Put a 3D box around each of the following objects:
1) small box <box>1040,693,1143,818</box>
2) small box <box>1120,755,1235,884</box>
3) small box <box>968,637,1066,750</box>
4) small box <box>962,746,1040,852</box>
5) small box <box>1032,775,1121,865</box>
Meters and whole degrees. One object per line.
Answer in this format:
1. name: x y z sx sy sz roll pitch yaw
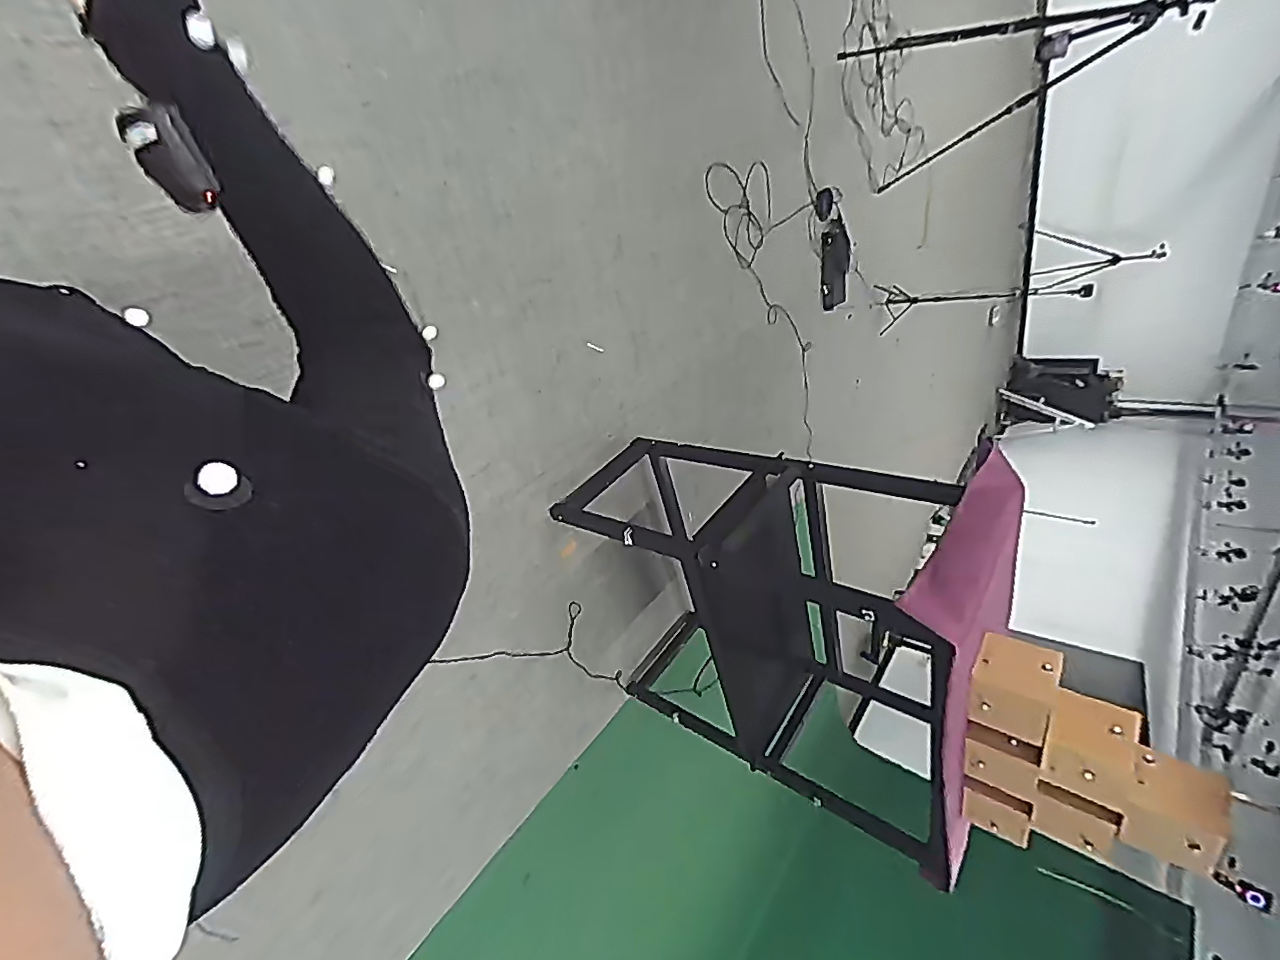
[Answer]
1. small box: 1.096 0.663 1.319 0.179 0.176 0.168 -40 125 -36
2. small box: 1.248 0.781 1.266 0.168 0.176 0.179 -41 127 -35
3. small box: 0.944 0.529 1.363 0.168 0.176 0.179 -41 128 -35
4. small box: 1.077 0.945 1.615 0.179 0.176 0.168 -38 126 -38
5. small box: 1.160 0.859 1.435 0.168 0.176 0.179 -40 126 -36
